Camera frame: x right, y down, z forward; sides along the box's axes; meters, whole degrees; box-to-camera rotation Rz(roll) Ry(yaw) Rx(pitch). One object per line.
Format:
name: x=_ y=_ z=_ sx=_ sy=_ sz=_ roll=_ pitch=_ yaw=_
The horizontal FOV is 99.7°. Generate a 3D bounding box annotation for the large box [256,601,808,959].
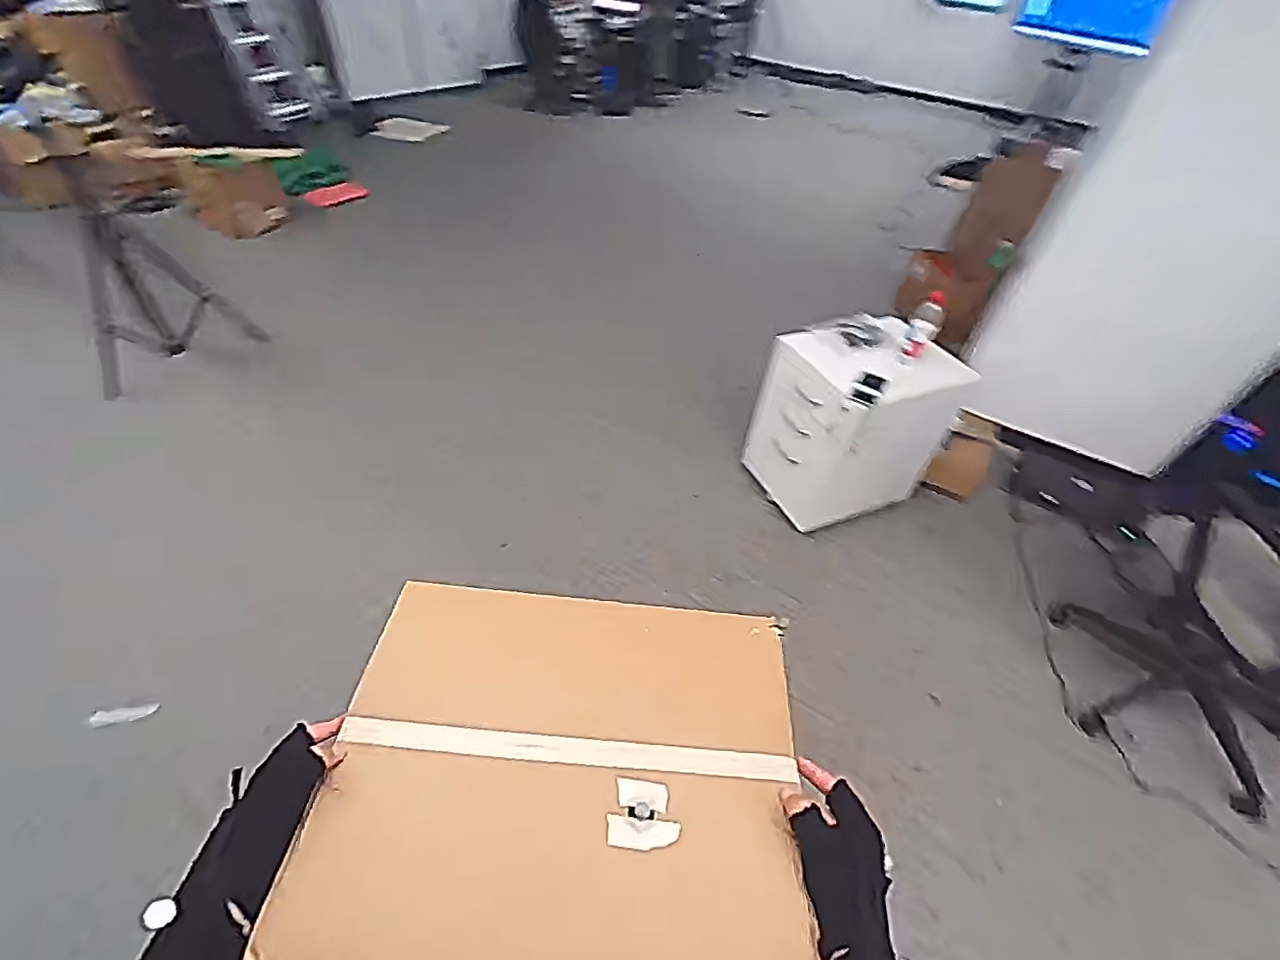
large box: x=-0.083 y=0.358 z=0.589 sx=0.408 sy=0.320 sz=0.320 roll=5 pitch=45 yaw=-2
